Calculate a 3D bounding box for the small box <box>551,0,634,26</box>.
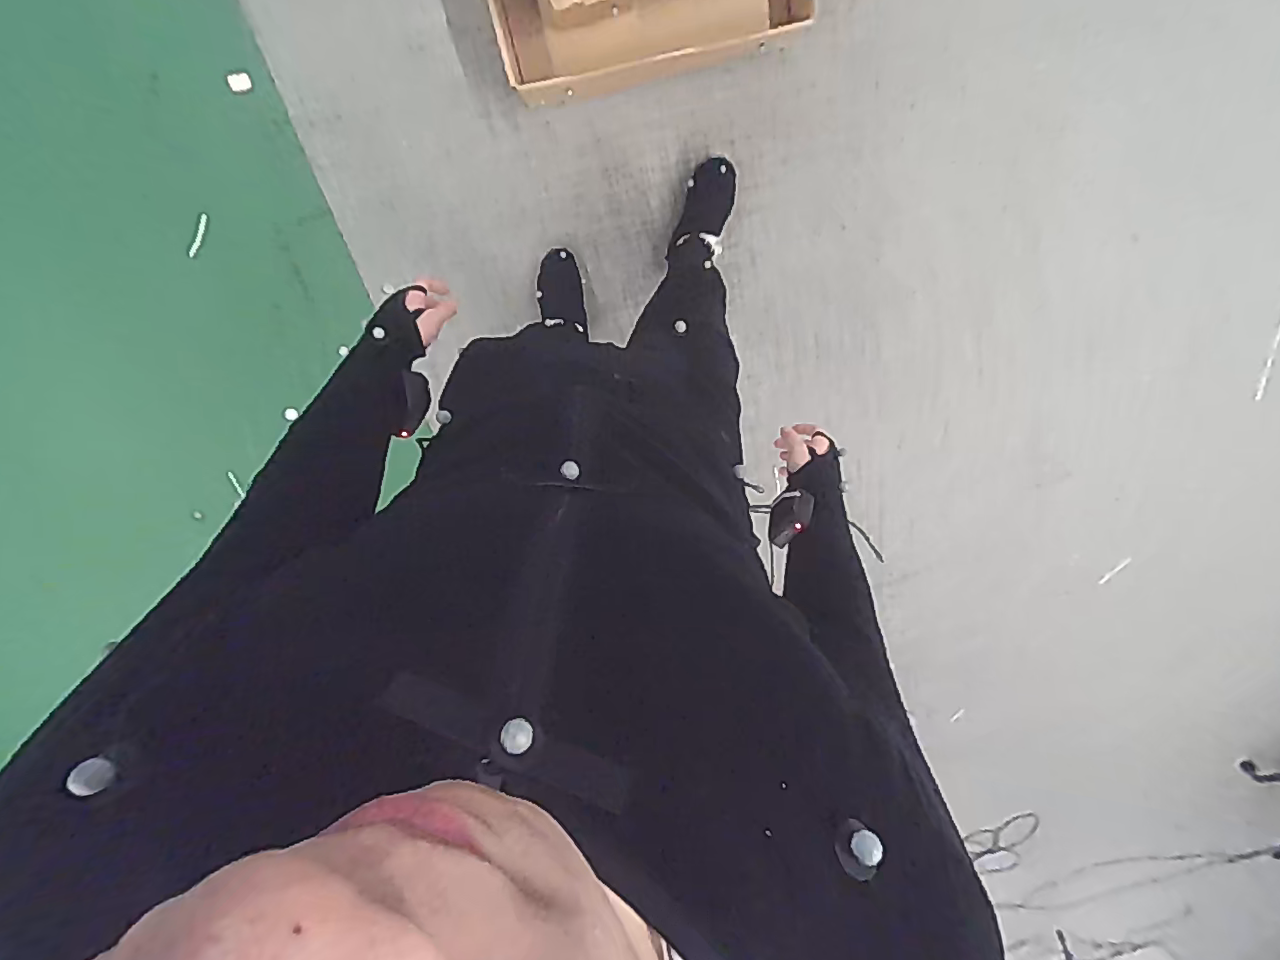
[{"bbox_3d":[-0.103,-0.992,1.020,0.168,0.176,0.179,-13,119,2],"label":"small box"}]
